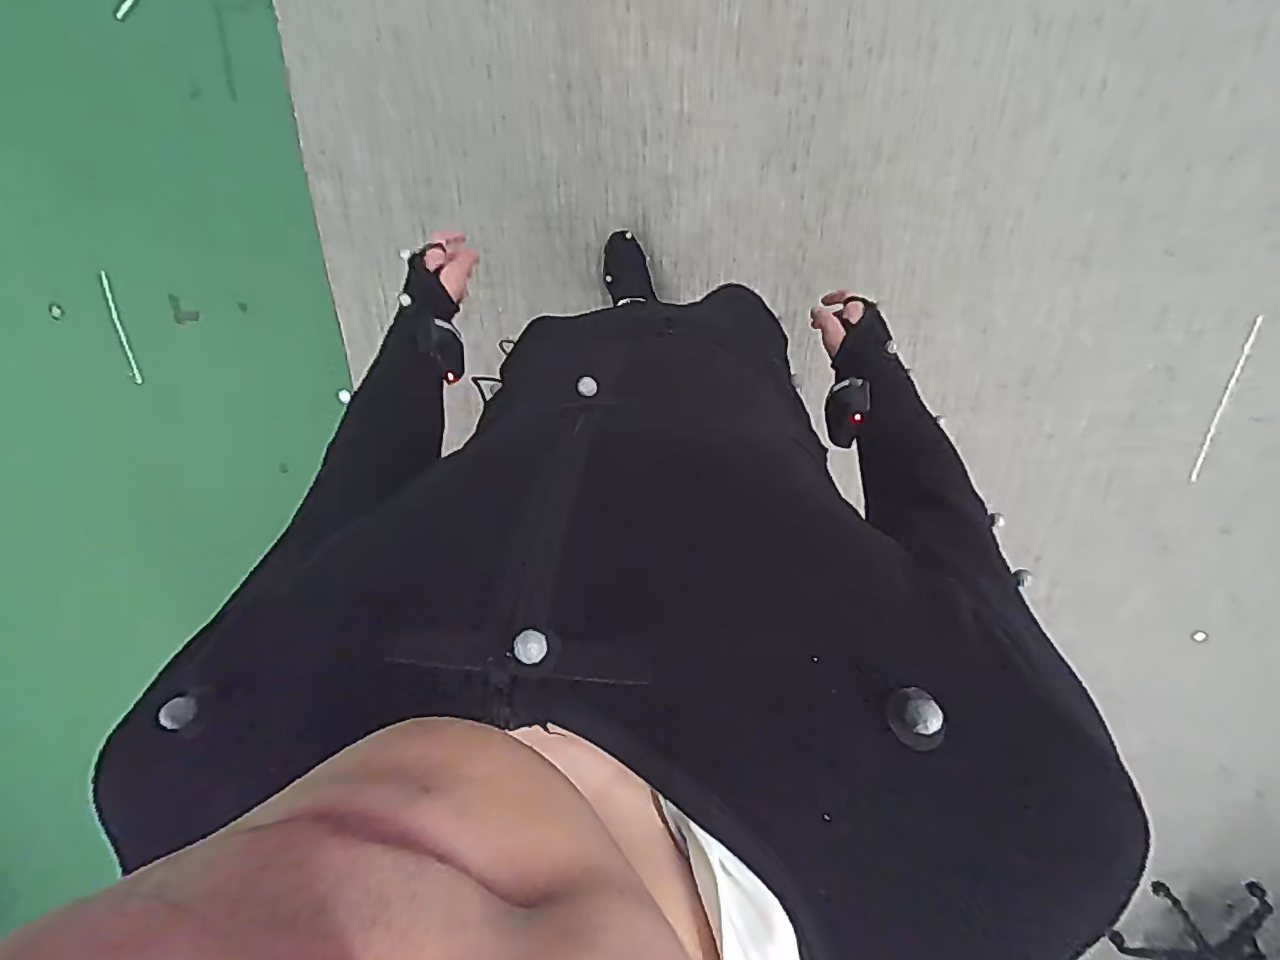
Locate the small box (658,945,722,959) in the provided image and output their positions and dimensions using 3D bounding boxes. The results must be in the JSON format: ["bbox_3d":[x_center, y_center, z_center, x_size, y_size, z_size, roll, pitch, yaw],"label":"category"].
[{"bbox_3d":[0.123,1.304,1.342,0.168,0.176,0.179,3,112,2],"label":"small box"}]
